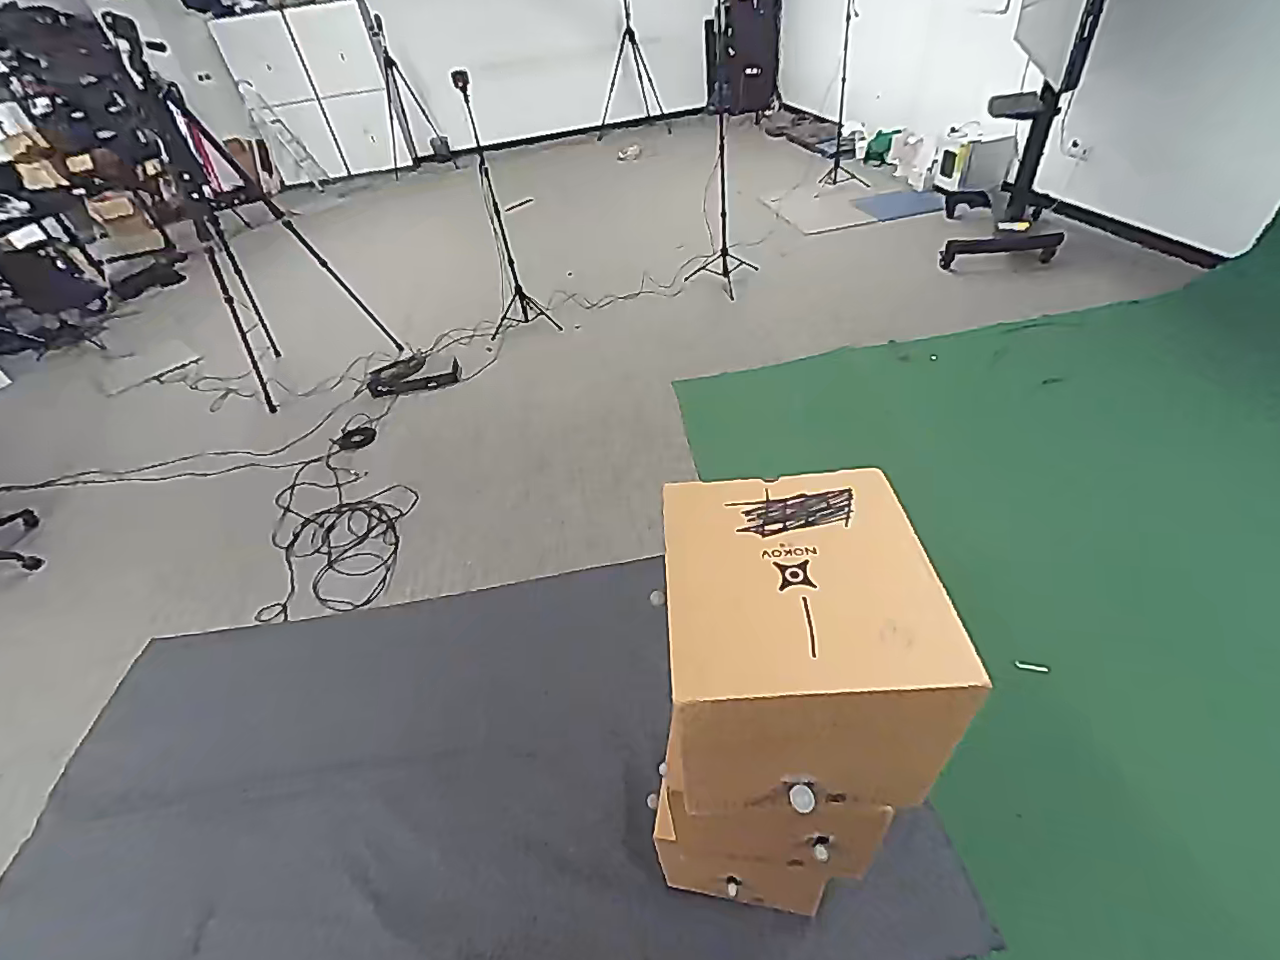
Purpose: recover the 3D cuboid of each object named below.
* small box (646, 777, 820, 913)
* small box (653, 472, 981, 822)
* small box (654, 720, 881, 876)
[{"bbox_3d":[0.111,0.355,0.612,0.168,0.176,0.179,2,41,13],"label":"small box"},{"bbox_3d":[0.097,0.117,0.387,0.168,0.176,0.179,-5,41,5],"label":"small box"},{"bbox_3d":[0.110,0.237,0.499,0.168,0.176,0.179,-1,40,9],"label":"small box"}]
